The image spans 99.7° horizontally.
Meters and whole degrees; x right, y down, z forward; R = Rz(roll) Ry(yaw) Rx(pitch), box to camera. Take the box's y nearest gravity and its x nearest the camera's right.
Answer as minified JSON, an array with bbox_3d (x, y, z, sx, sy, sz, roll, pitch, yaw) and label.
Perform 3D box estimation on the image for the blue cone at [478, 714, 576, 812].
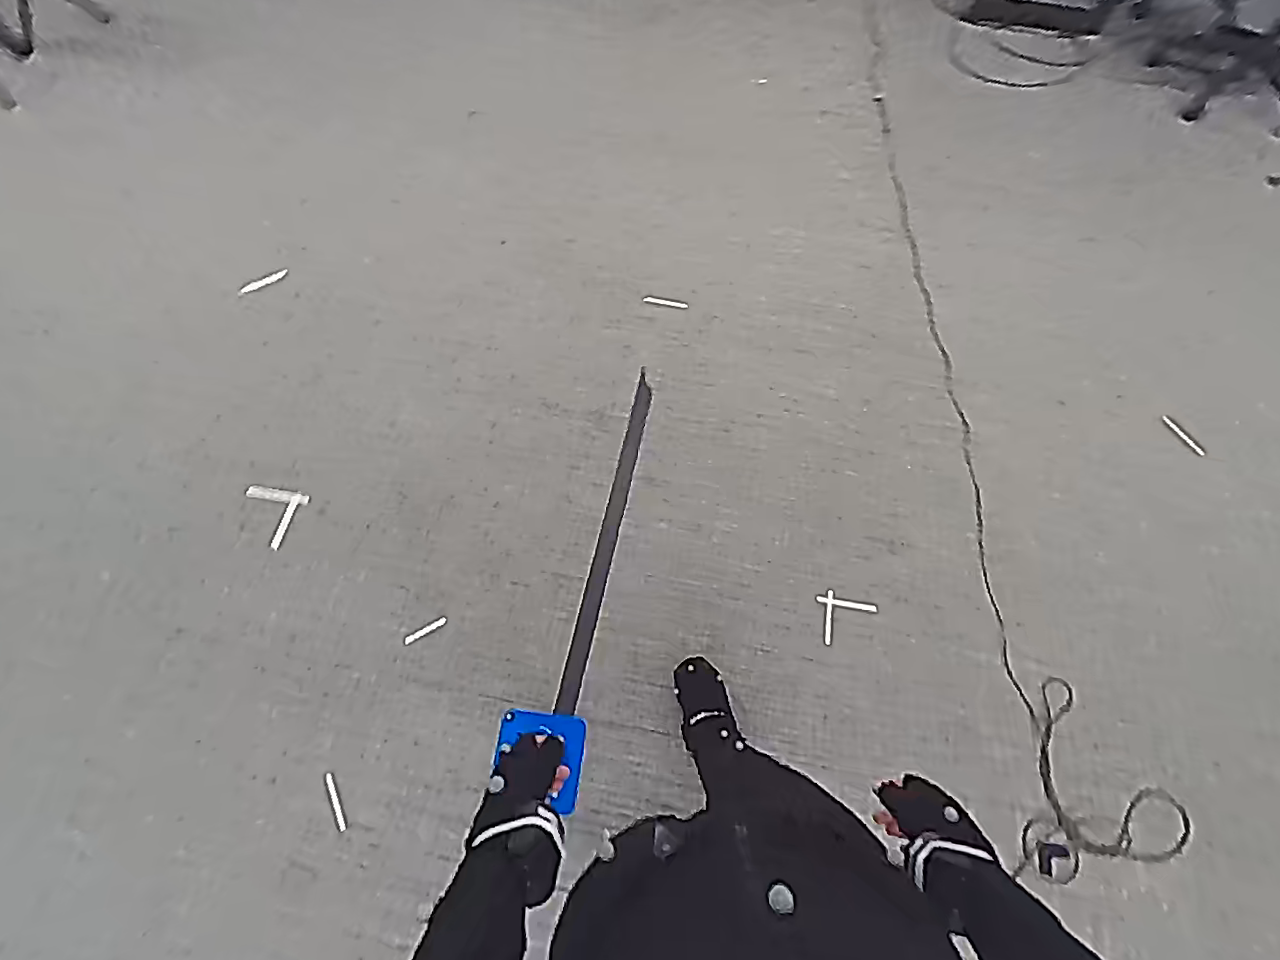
[{"bbox_3d":[-0.248,0.577,1.086,0.192,0.380,0.193,8,66,3],"label":"blue cone"}]
